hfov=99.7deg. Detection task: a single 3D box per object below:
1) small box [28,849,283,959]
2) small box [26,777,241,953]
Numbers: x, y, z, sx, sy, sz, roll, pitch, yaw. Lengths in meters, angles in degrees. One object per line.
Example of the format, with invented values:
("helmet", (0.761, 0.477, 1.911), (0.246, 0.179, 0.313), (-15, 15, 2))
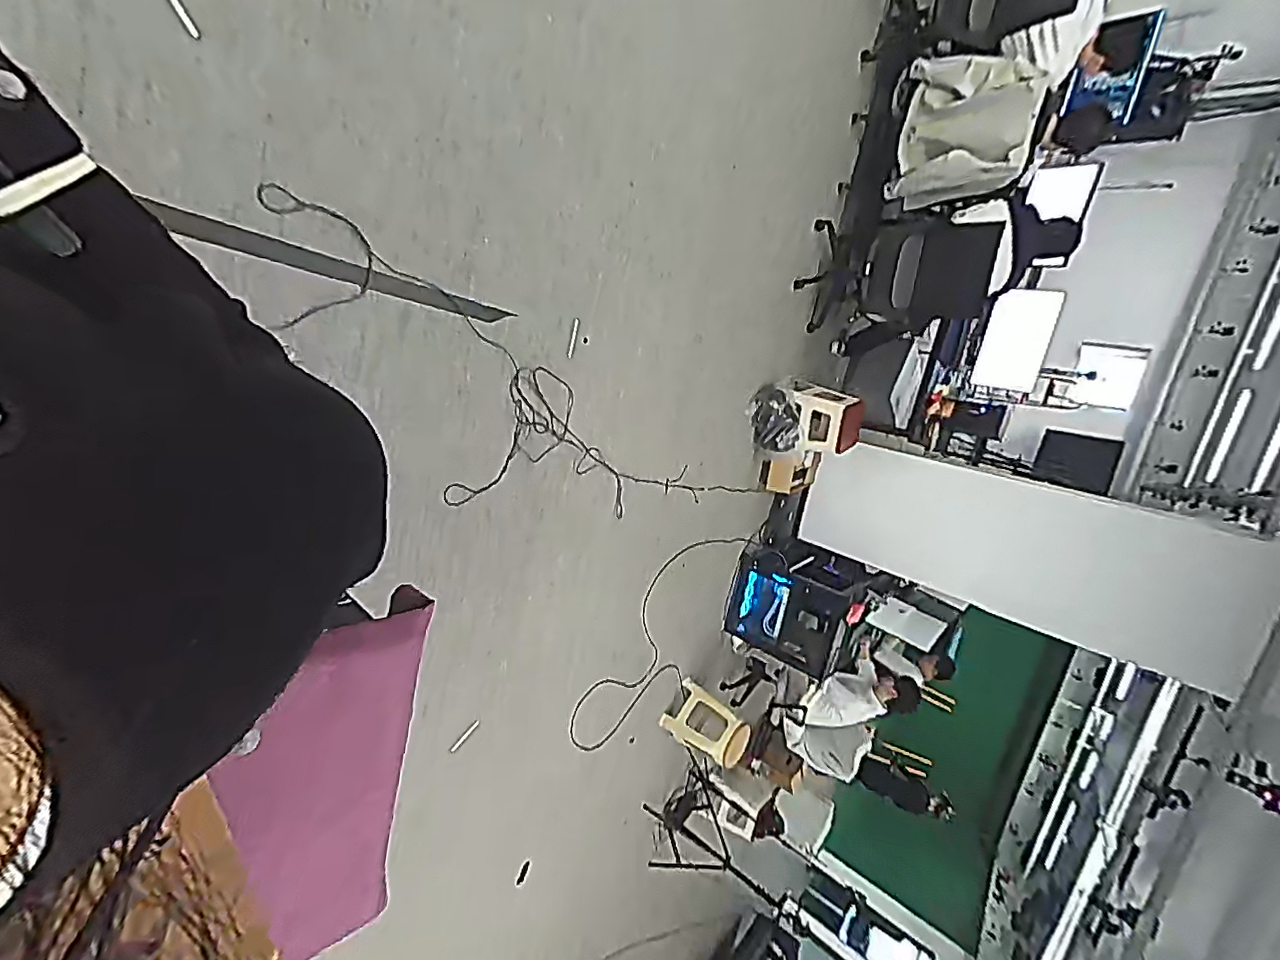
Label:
("small box", (-0.489, 0.527, 0.554), (0.168, 0.176, 0.179), (-9, 113, -50))
("small box", (-0.615, 0.500, 0.657), (0.168, 0.176, 0.179), (-2, 109, -52))
